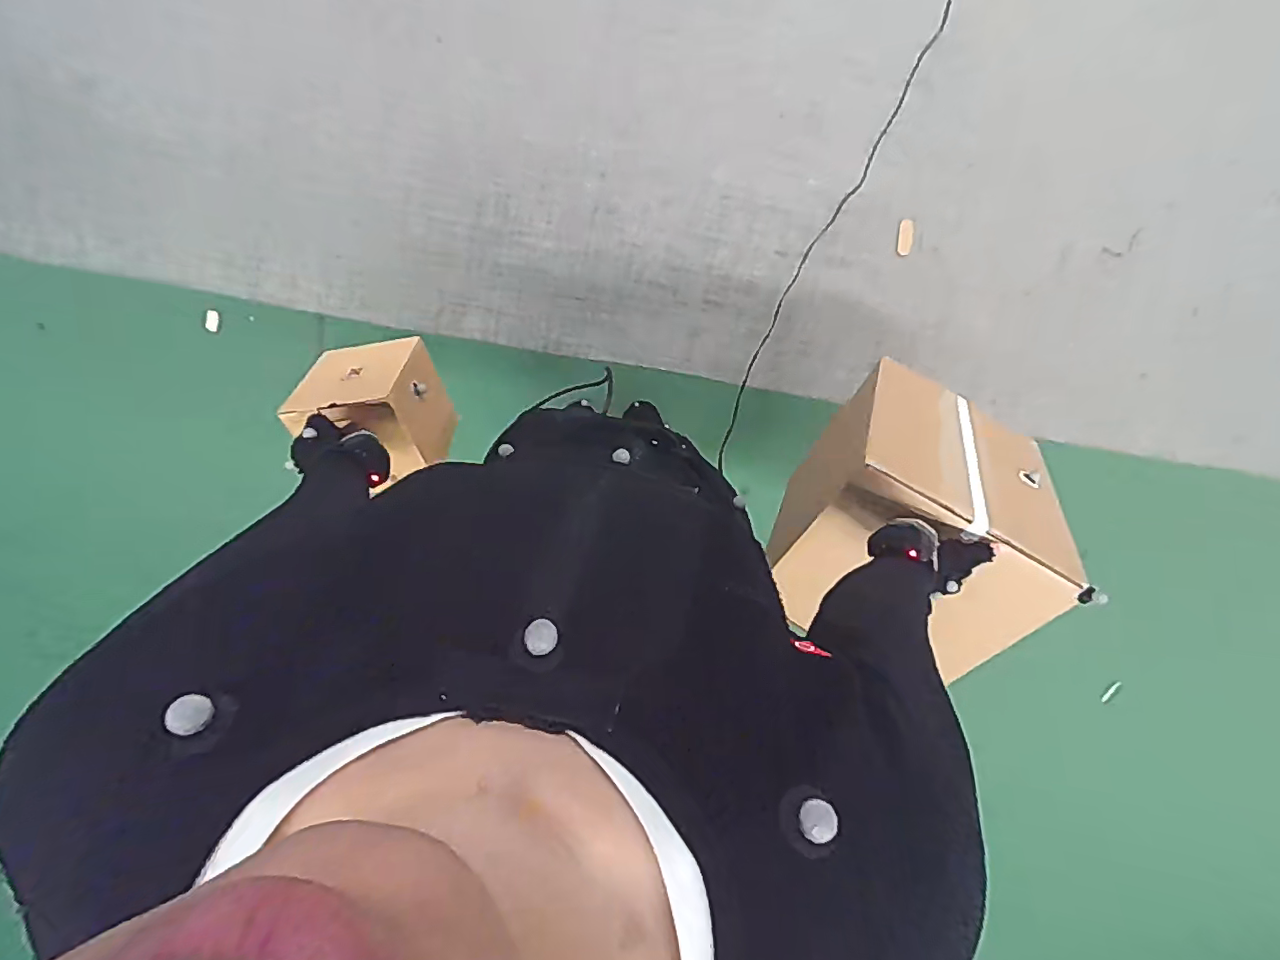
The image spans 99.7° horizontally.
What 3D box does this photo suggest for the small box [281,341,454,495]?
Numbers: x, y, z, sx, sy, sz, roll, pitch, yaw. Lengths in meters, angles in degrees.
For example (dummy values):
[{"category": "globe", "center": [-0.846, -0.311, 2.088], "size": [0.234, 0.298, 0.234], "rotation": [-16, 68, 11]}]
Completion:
[{"category": "small box", "center": [-0.419, -0.099, 0.872], "size": [0.168, 0.179, 0.176], "rotation": [-7, 133, 4]}]
